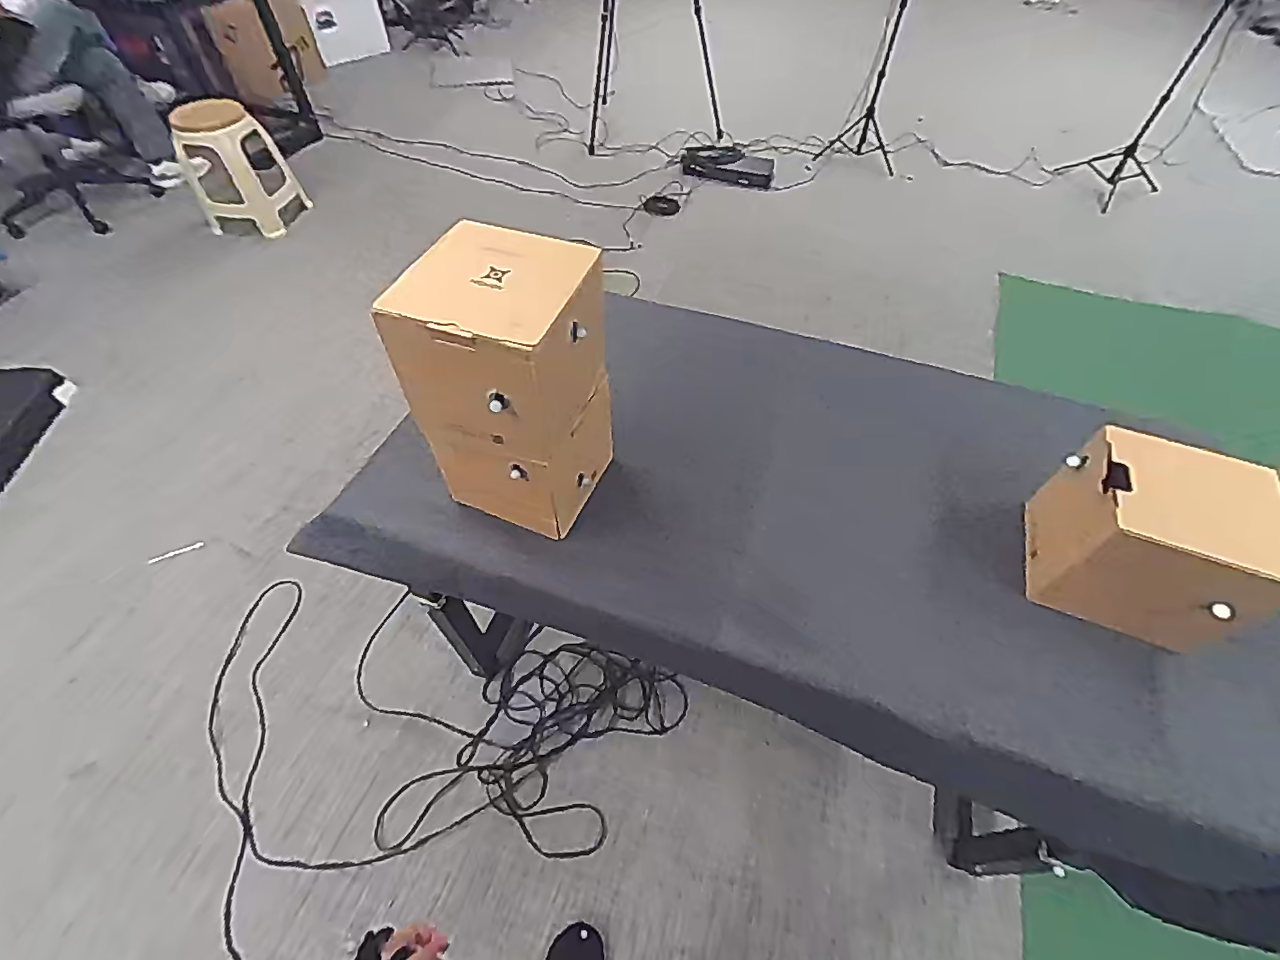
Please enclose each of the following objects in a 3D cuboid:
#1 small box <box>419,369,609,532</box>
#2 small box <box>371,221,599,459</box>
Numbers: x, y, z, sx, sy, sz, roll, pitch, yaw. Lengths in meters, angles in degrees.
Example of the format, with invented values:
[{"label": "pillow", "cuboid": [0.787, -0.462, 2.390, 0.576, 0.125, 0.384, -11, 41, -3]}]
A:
[{"label": "small box", "cuboid": [-0.153, -0.056, 0.724, 0.179, 0.176, 0.168, 19, 54, 13]}, {"label": "small box", "cuboid": [-0.147, -0.149, 0.591, 0.168, 0.176, 0.179, 16, 52, 8]}]
